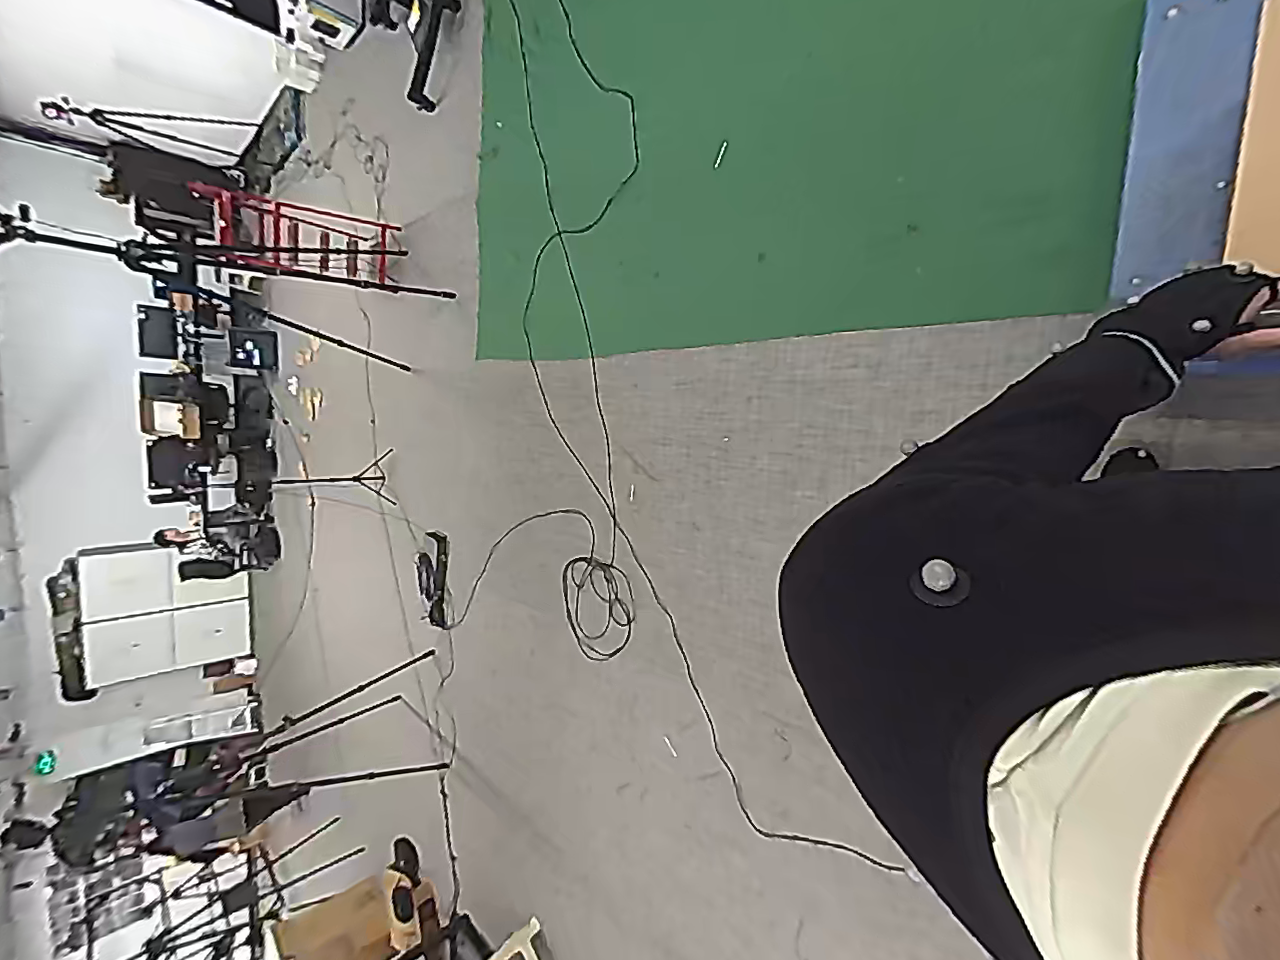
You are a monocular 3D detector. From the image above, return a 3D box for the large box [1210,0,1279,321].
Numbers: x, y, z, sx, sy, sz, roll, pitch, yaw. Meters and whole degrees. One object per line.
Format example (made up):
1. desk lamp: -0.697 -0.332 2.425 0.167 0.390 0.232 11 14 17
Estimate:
1. large box: 1.085 -0.480 0.795 0.320 0.320 0.408 7 96 43
